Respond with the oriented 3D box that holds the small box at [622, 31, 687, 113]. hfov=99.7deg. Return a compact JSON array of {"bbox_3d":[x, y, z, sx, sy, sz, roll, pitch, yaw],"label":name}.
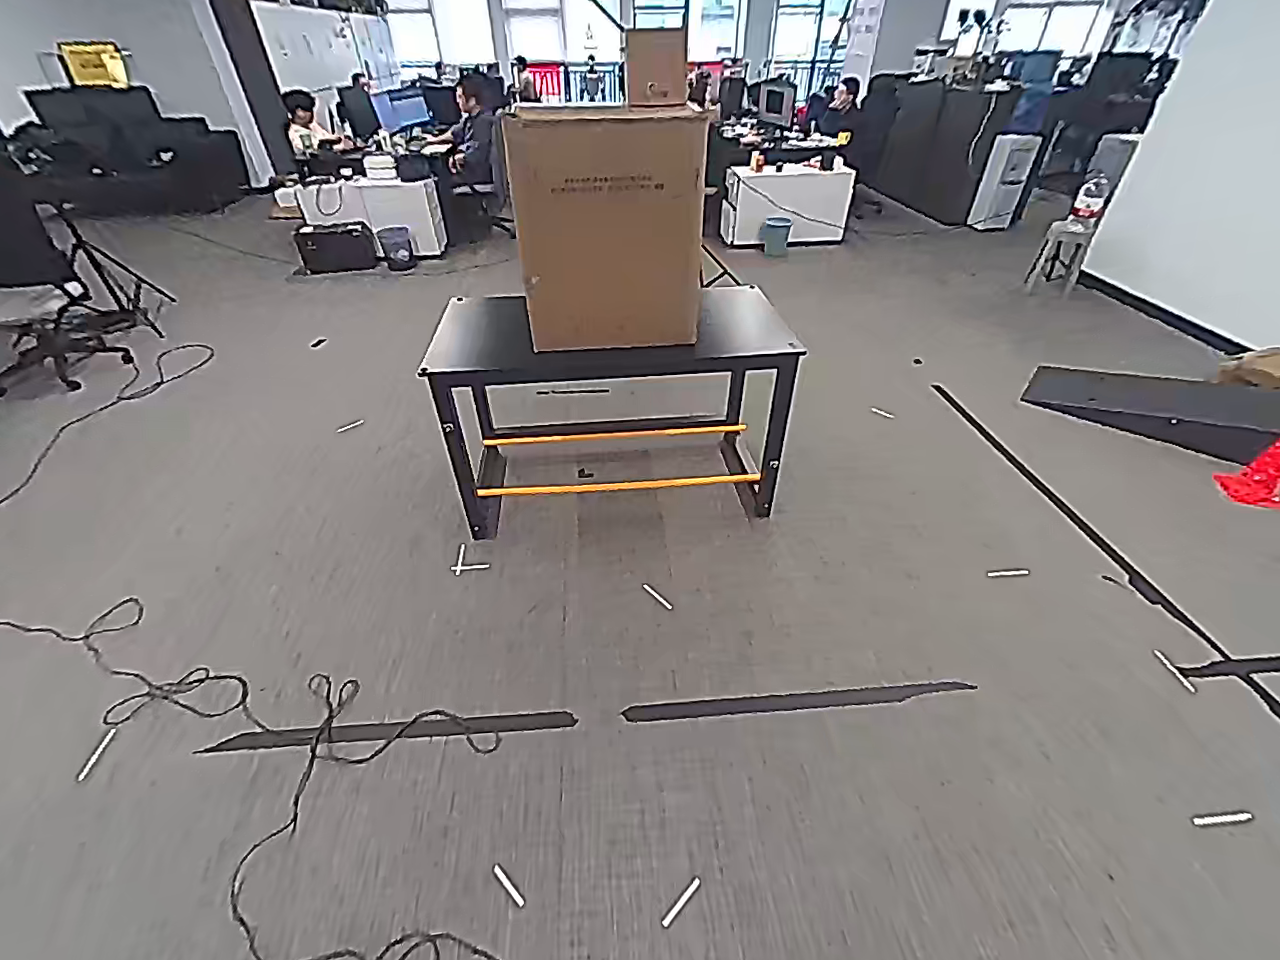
[{"bbox_3d":[0.037,-1.124,1.494,0.168,0.176,0.179,-5,38,-1],"label":"small box"}]
